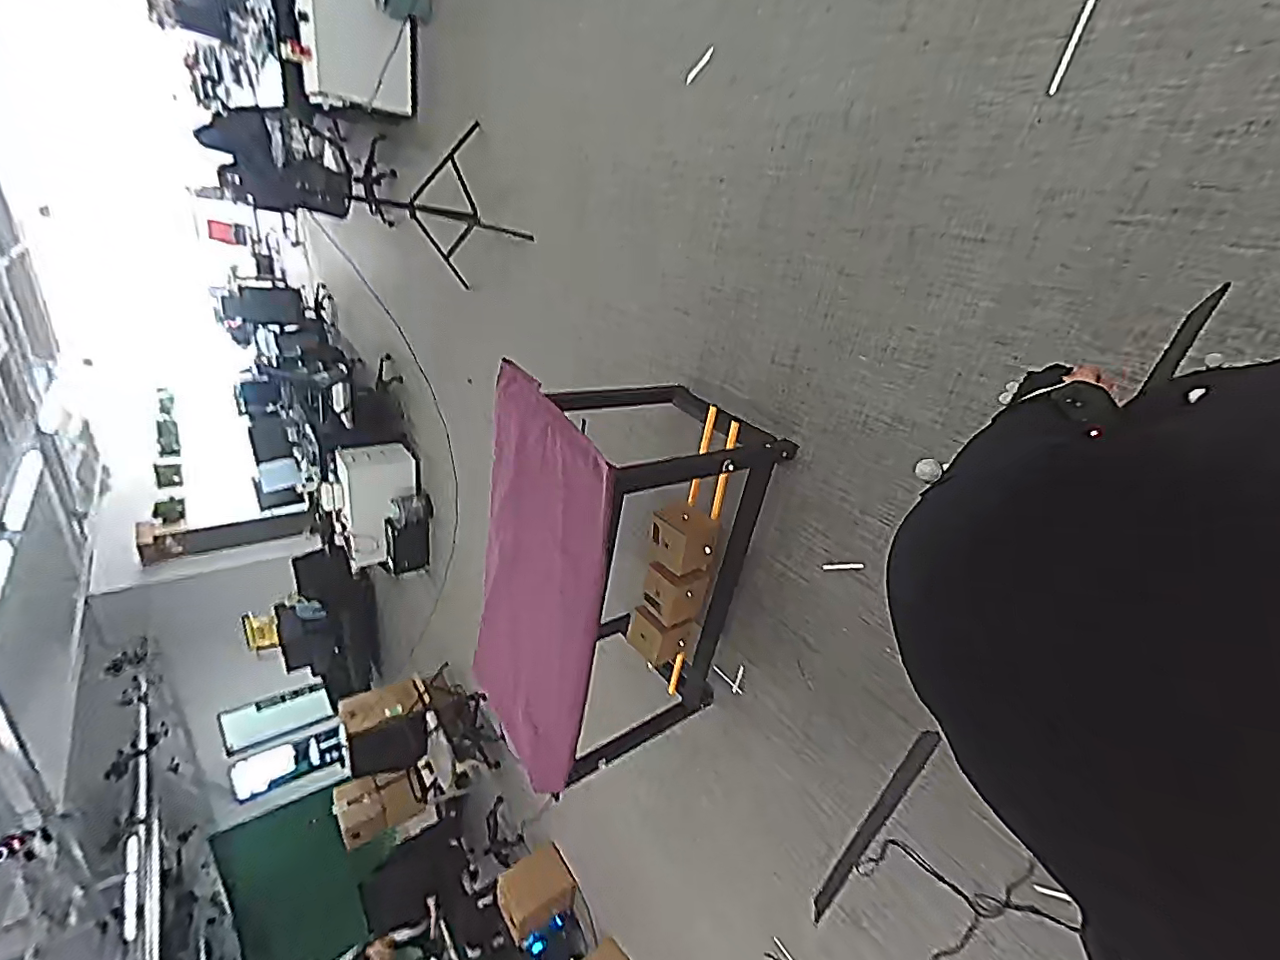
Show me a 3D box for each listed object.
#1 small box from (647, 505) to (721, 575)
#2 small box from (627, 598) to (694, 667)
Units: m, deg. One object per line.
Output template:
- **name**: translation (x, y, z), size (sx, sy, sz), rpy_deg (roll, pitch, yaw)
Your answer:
- **small box**: translation (0.151, 0.199, 1.884), size (0.179, 0.176, 0.168), rpy_deg (33, 125, 40)
- **small box**: translation (0.079, 0.574, 2.073), size (0.179, 0.176, 0.168), rpy_deg (35, 125, 39)
